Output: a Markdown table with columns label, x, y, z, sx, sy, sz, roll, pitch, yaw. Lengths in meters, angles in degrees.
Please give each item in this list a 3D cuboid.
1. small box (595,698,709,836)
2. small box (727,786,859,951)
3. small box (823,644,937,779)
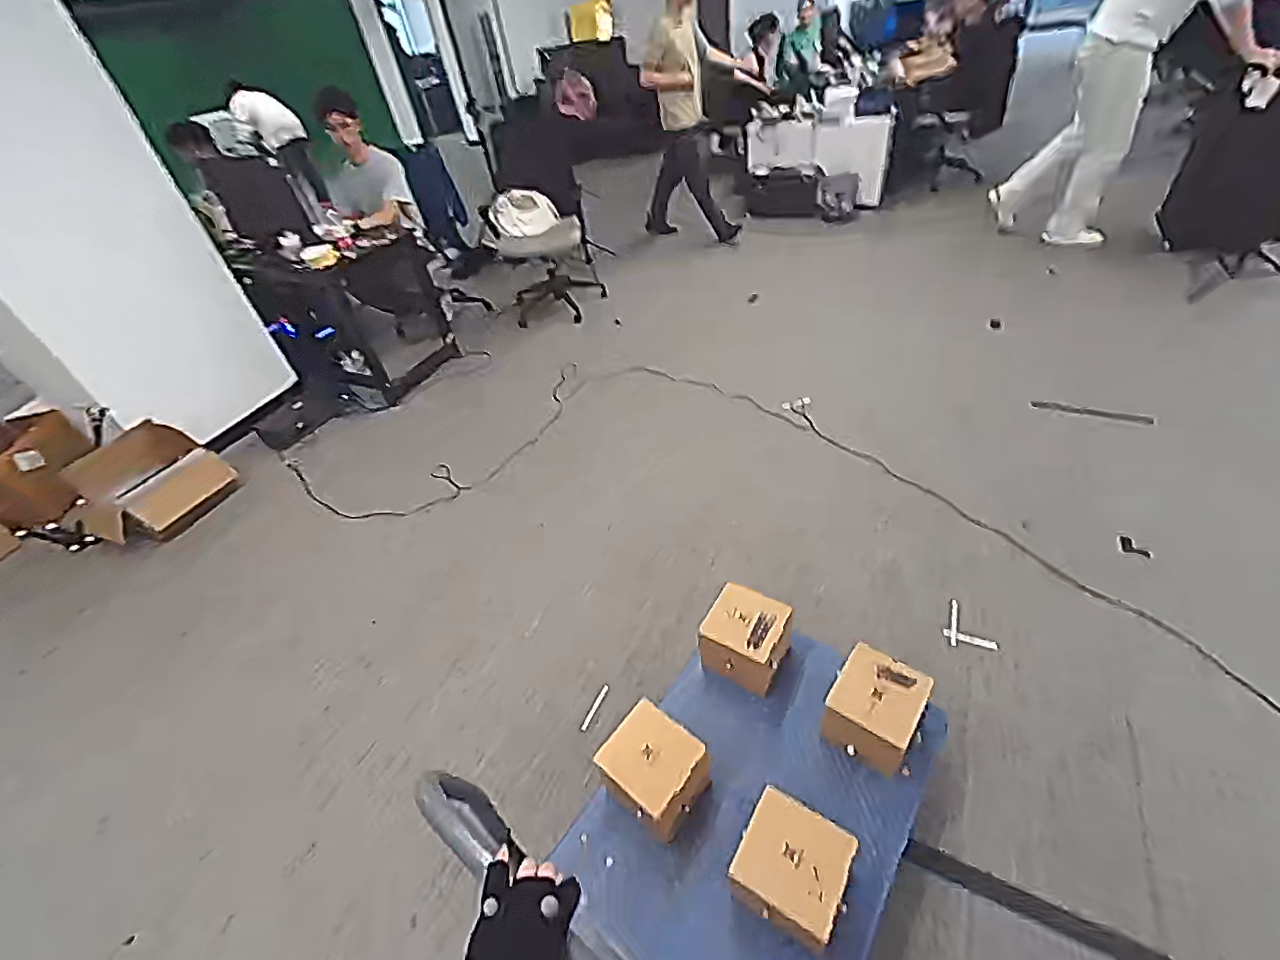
| label | x | y | z | sx | sy | sz | roll | pitch | yaw |
| --- | --- | --- | --- | --- | --- | --- | --- | --- | --- |
| small box | 0.030 | 0.612 | 1.149 | 0.179 | 0.176 | 0.168 | 28 | 53 | 32 |
| small box | 0.276 | 0.712 | 0.989 | 0.179 | 0.176 | 0.168 | 20 | 50 | 30 |
| small box | 0.512 | 0.502 | 1.174 | 0.168 | 0.176 | 0.179 | 25 | 54 | 33 |
